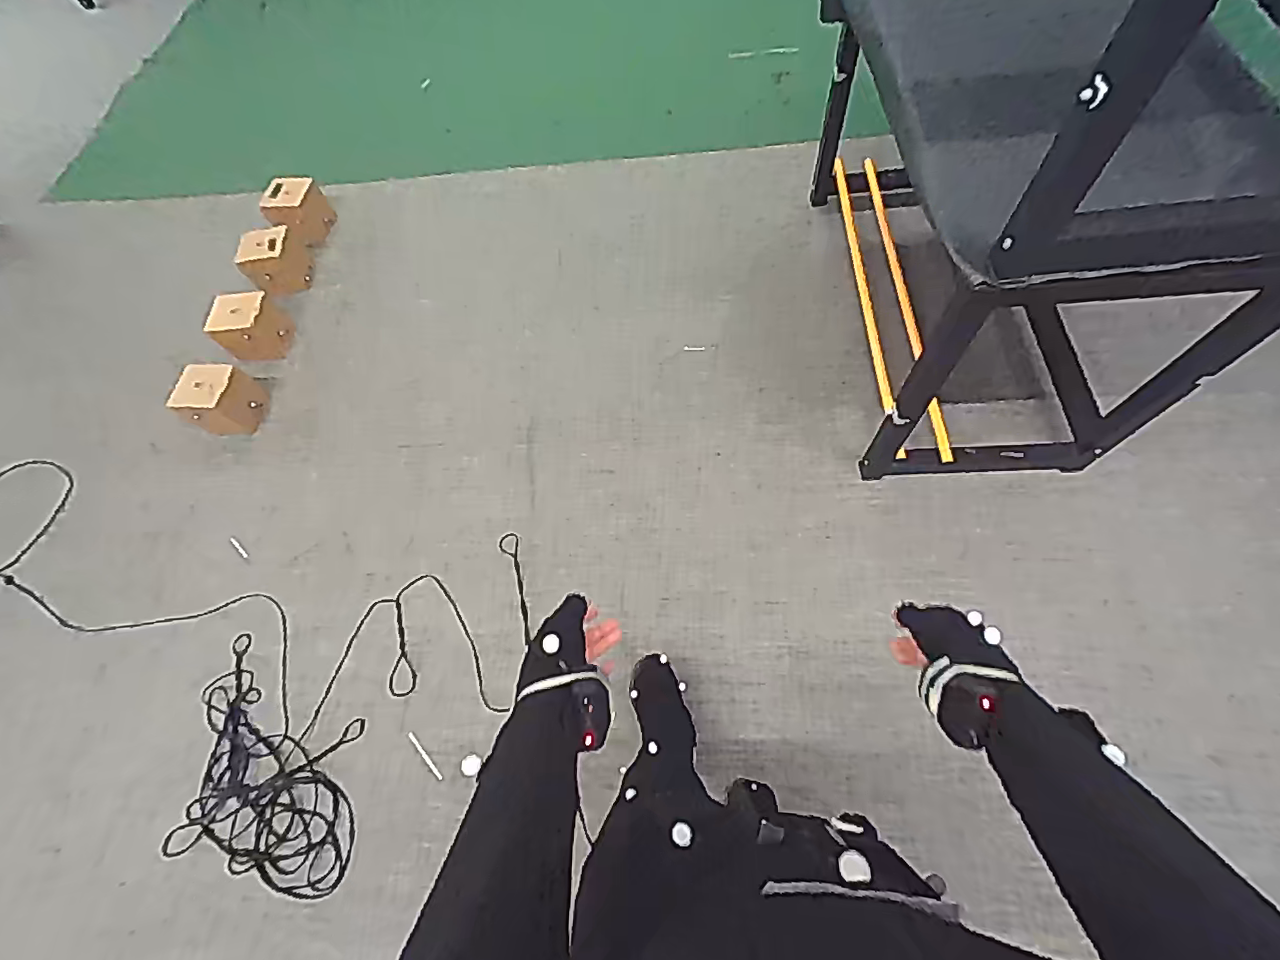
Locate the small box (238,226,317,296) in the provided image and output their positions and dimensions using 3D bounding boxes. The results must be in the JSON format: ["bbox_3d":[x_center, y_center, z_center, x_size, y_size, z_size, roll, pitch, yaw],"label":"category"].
[{"bbox_3d":[-1.373,-0.833,2.063,0.179,0.176,0.168,-9,63,3],"label":"small box"}]

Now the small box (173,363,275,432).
[{"bbox_3d":[-1.374,-0.270,1.795,0.179,0.176,0.168,2,66,8],"label":"small box"}]

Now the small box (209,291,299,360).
[{"bbox_3d":[-1.367,-0.546,1.926,0.179,0.176,0.168,-5,65,4],"label":"small box"}]
